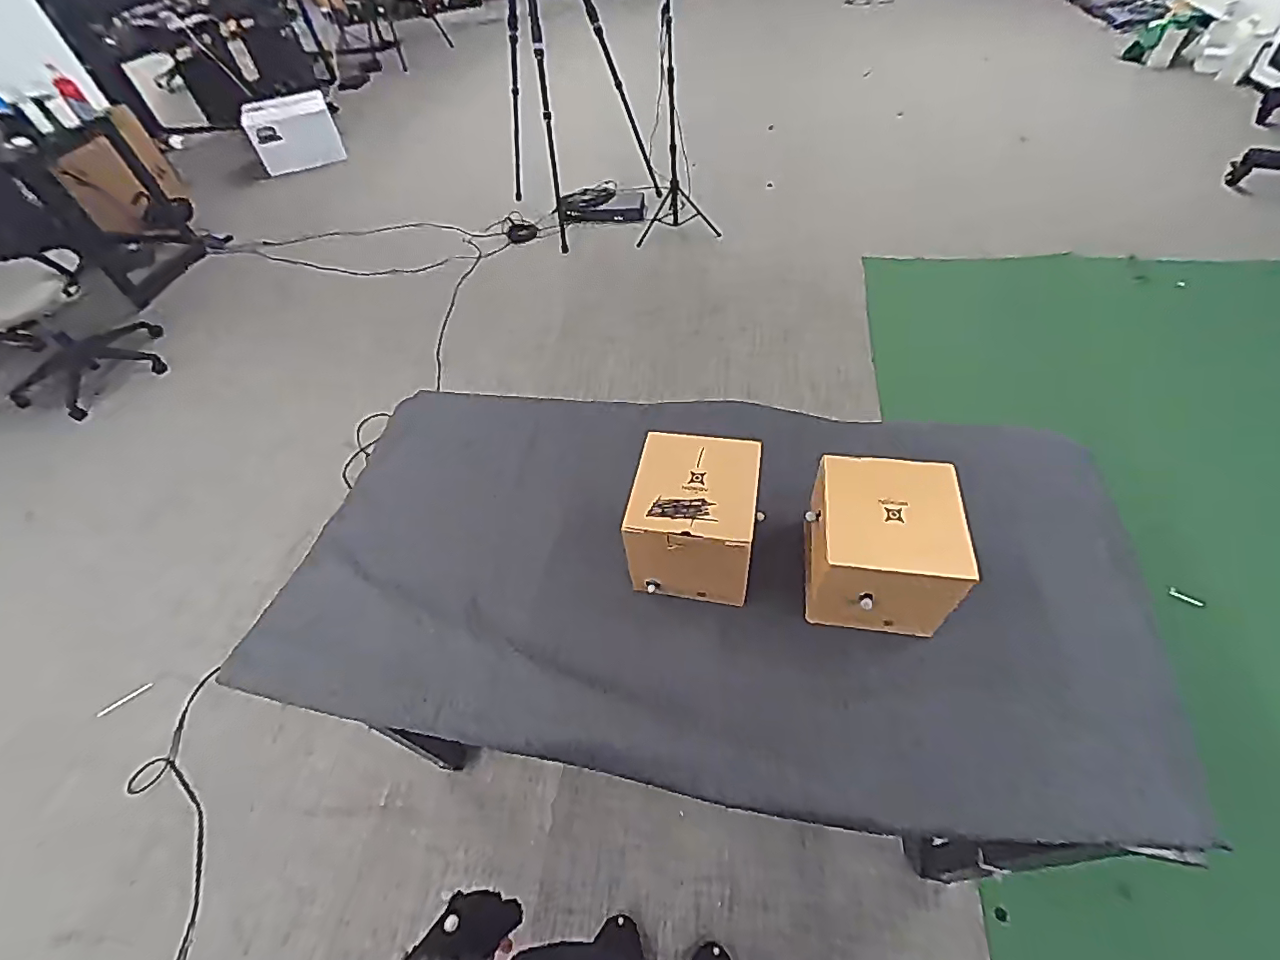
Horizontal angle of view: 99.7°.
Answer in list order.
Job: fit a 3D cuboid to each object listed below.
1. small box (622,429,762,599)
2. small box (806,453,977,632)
[{"bbox_3d":[0.081,0.052,0.781,0.168,0.176,0.179,7,52,11],"label":"small box"},{"bbox_3d":[0.321,0.086,0.729,0.168,0.176,0.179,5,52,10],"label":"small box"}]
